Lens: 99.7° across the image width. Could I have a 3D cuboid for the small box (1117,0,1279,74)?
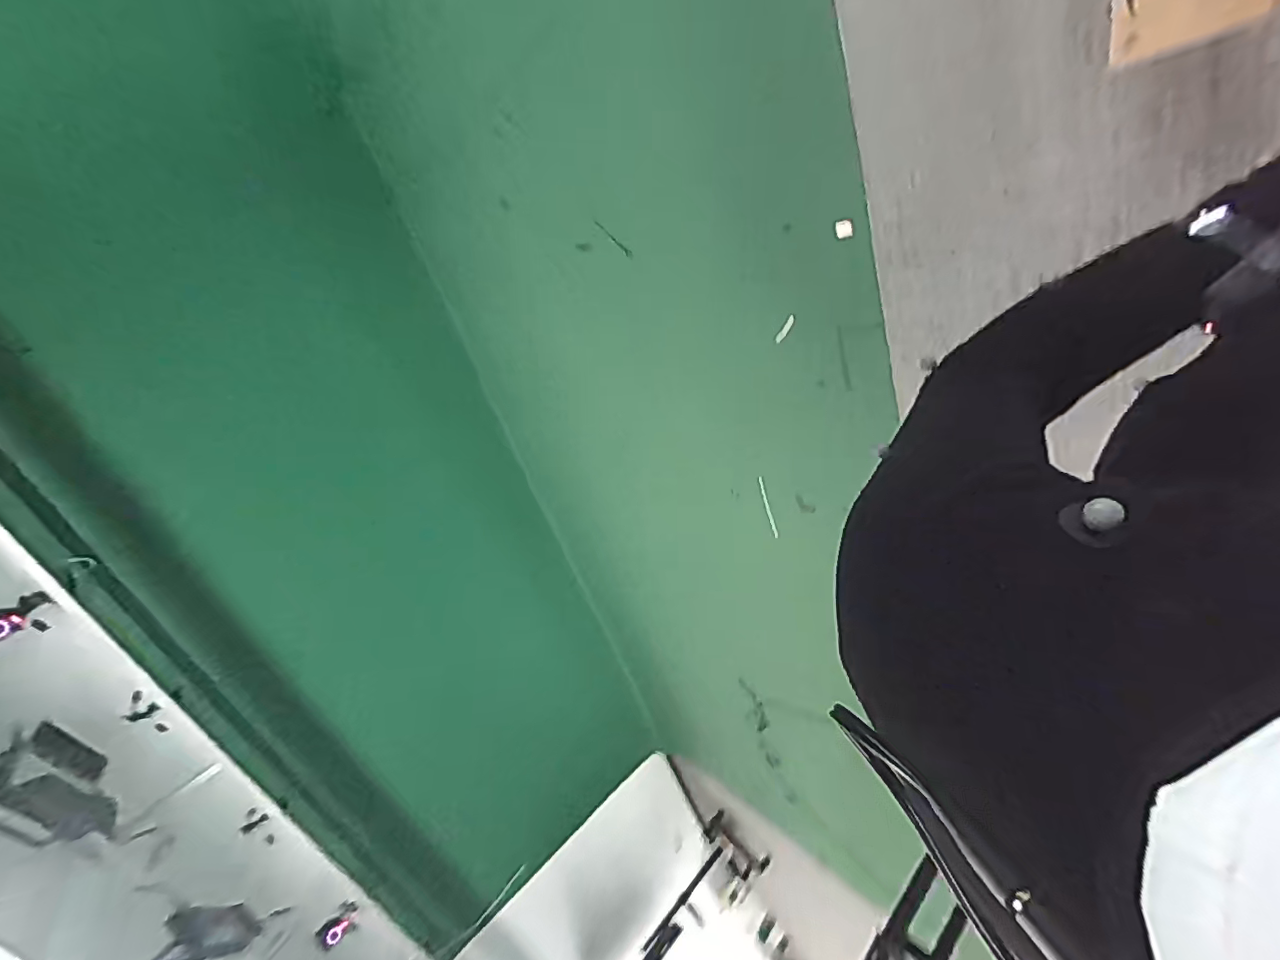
[{"bbox_3d":[0.847,-0.741,0.800,0.179,0.176,0.168,14,131,50],"label":"small box"}]
